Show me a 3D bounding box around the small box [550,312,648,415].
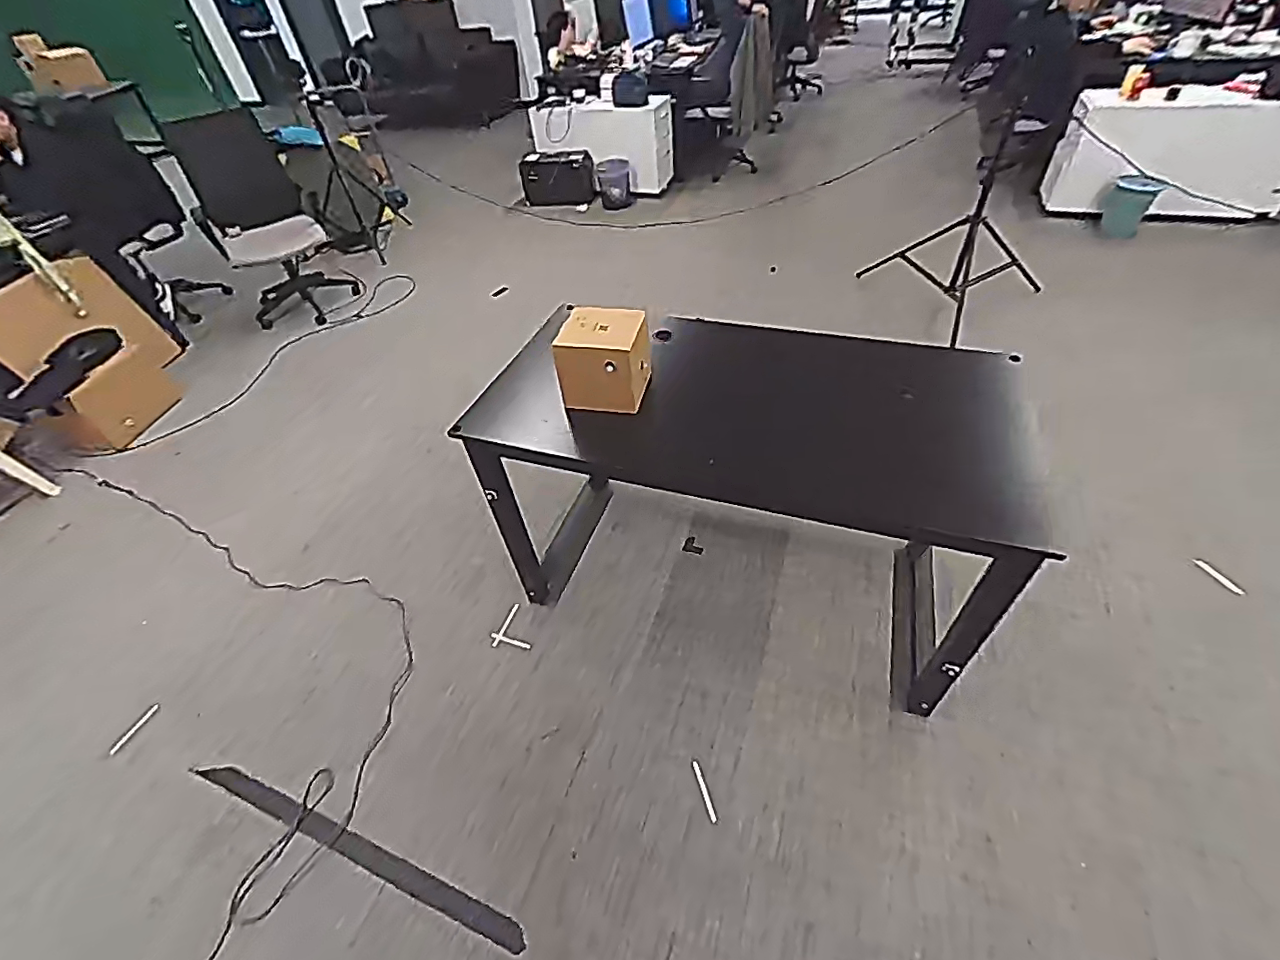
[{"bbox_3d":[-0.083,-0.265,1.237,0.179,0.176,0.168,6,46,12],"label":"small box"}]
